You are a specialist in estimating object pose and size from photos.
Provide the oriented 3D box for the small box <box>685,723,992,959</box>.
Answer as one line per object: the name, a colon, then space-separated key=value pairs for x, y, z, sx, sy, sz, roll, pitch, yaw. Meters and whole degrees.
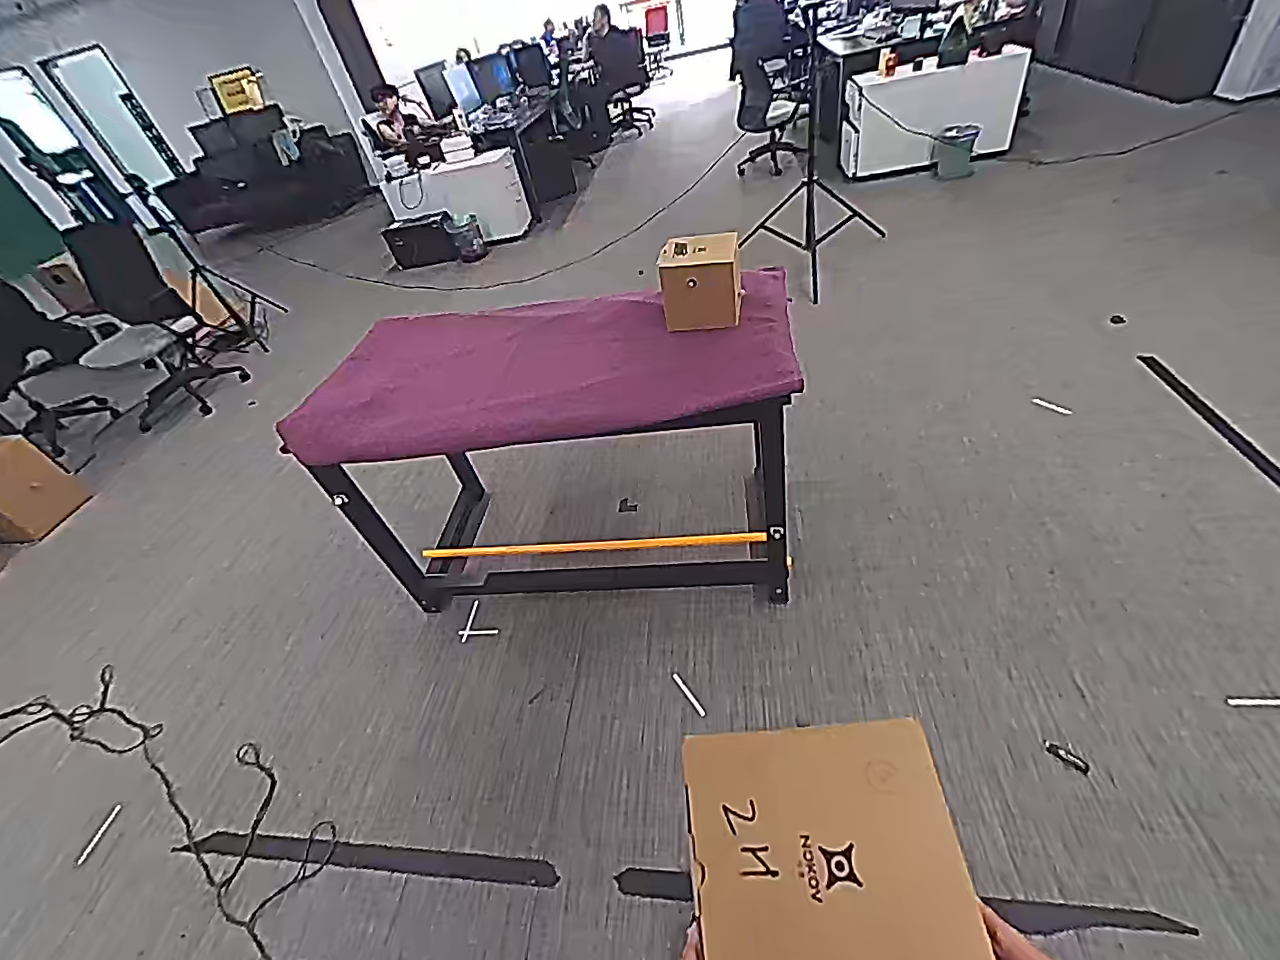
small box: x=0.131 y=0.294 z=0.423 sx=0.179 sy=0.176 sz=0.168 roll=-7 pitch=57 yaw=4

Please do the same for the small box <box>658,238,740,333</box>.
small box: x=0.153 y=-0.481 z=1.350 sx=0.179 sy=0.176 sz=0.168 roll=1 pitch=46 yaw=15
